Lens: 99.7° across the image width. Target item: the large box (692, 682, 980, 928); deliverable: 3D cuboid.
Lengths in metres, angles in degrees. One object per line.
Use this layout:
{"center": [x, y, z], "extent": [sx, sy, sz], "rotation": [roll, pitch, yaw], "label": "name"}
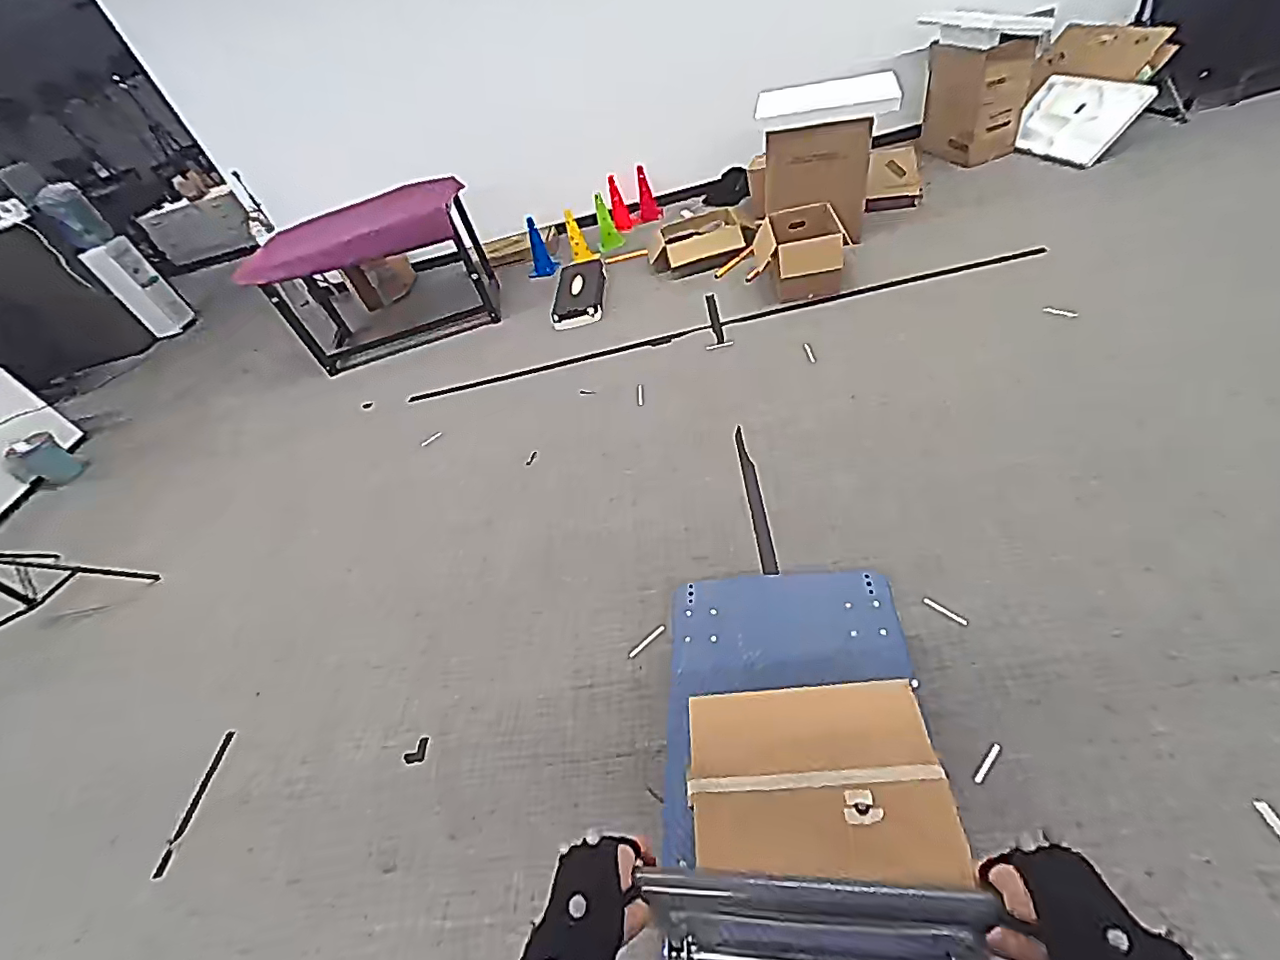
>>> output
{"center": [0.323, 0.608, 1.004], "extent": [0.408, 0.320, 0.320], "rotation": [-8, 45, 9], "label": "large box"}
